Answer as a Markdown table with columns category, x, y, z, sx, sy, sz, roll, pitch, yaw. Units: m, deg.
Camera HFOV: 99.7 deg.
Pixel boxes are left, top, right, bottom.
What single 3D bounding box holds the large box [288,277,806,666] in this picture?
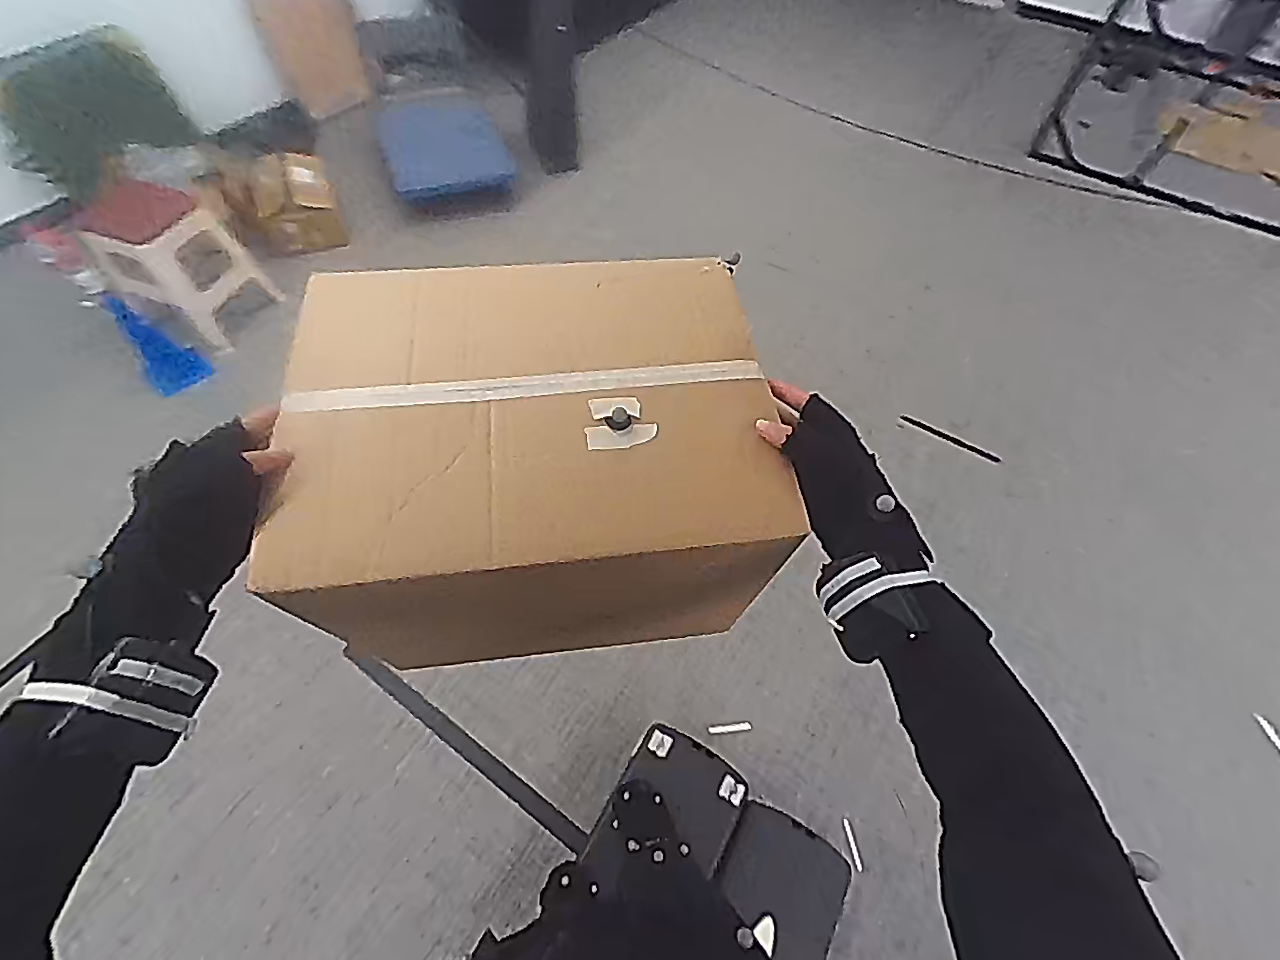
| category | x | y | z | sx | sy | sz | roll | pitch | yaw |
| --- | --- | --- | --- | --- | --- | --- | --- | --- | --- |
| large box | -0.090 | 0.003 | 0.611 | 0.408 | 0.320 | 0.320 | -4 | 62 | -7 |

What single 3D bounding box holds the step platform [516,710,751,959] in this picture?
| category | x | y | z | sx | sy | sz | roll | pitch | yaw |
| --- | --- | --- | --- | --- | --- | --- | --- | --- | --- |
| step platform | -0.004 | 0.905 | 1.261 | 0.286 | 0.204 | 0.684 | 28 | 60 | 14 |
